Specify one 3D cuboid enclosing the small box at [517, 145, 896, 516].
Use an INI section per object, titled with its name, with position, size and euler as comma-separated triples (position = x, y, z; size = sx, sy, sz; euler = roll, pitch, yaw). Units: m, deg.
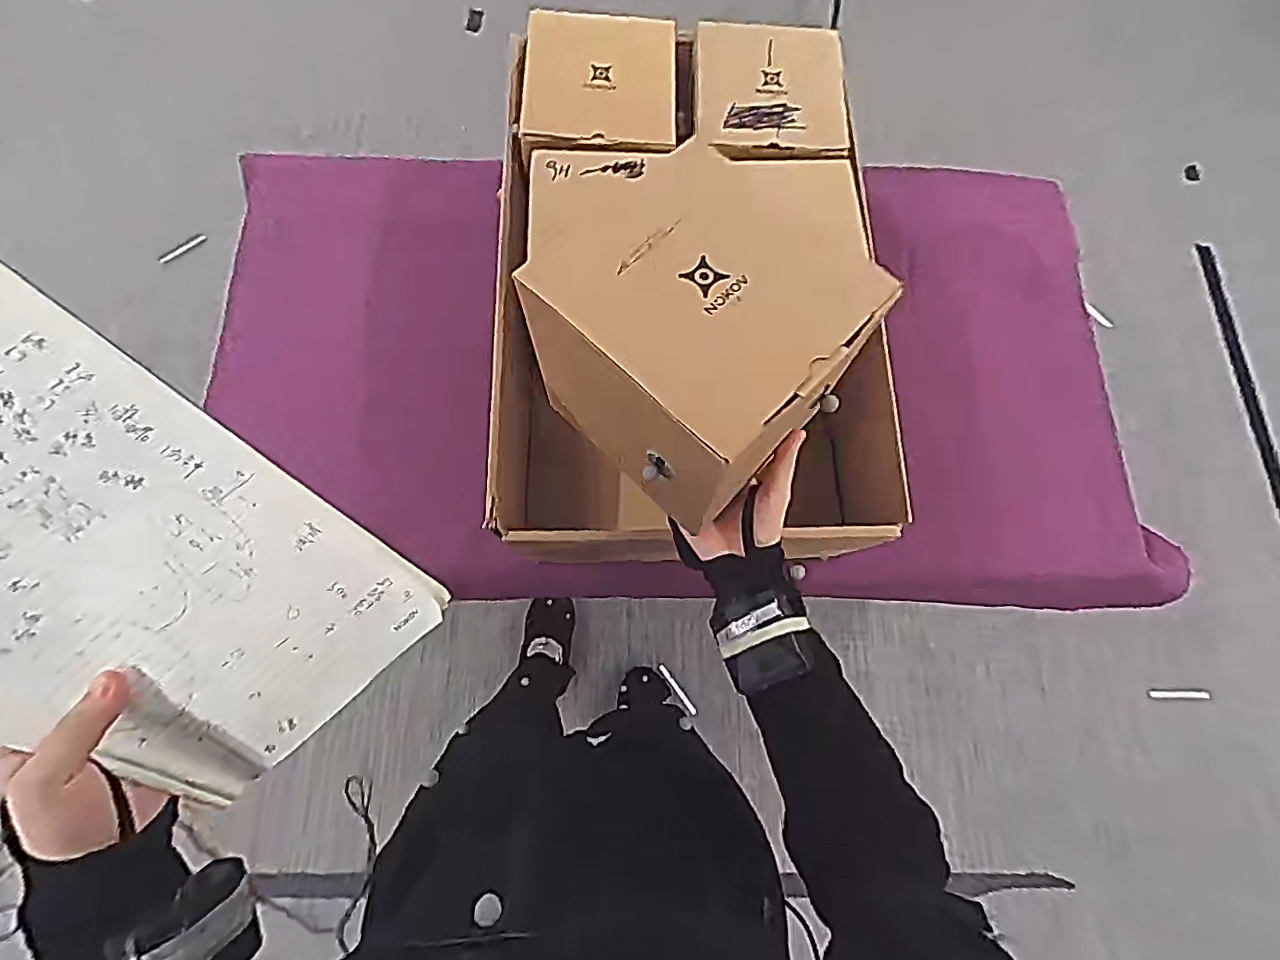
[small box]
position = 0.040, -0.093, 0.404
size = 0.179, 0.176, 0.168
euler = 42, 73, 15
